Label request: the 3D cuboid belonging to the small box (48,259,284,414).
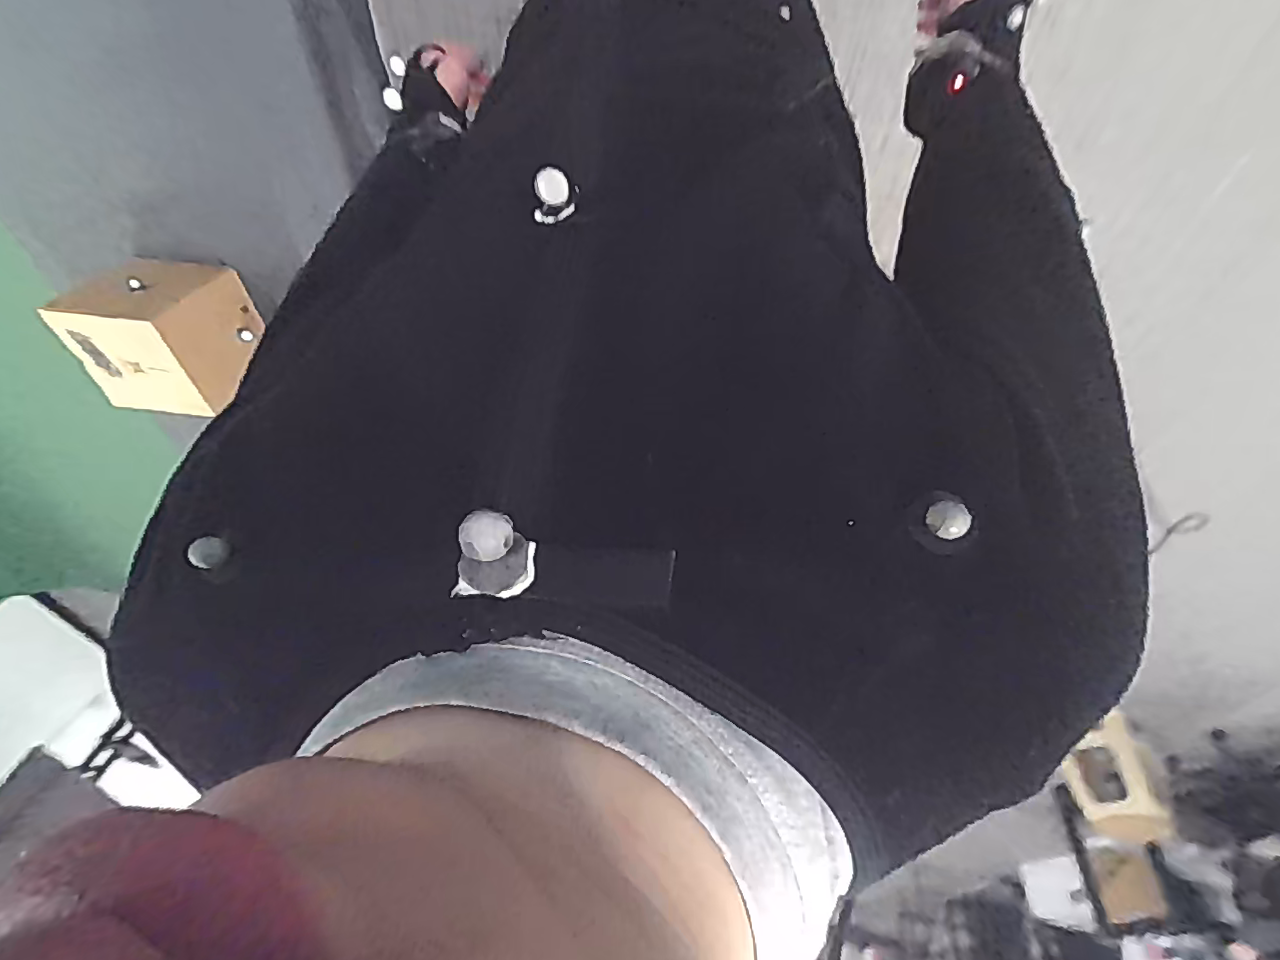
[{"bbox_3d":[-0.709,-0.225,0.836,0.179,0.176,0.168,7,136,6],"label":"small box"}]
